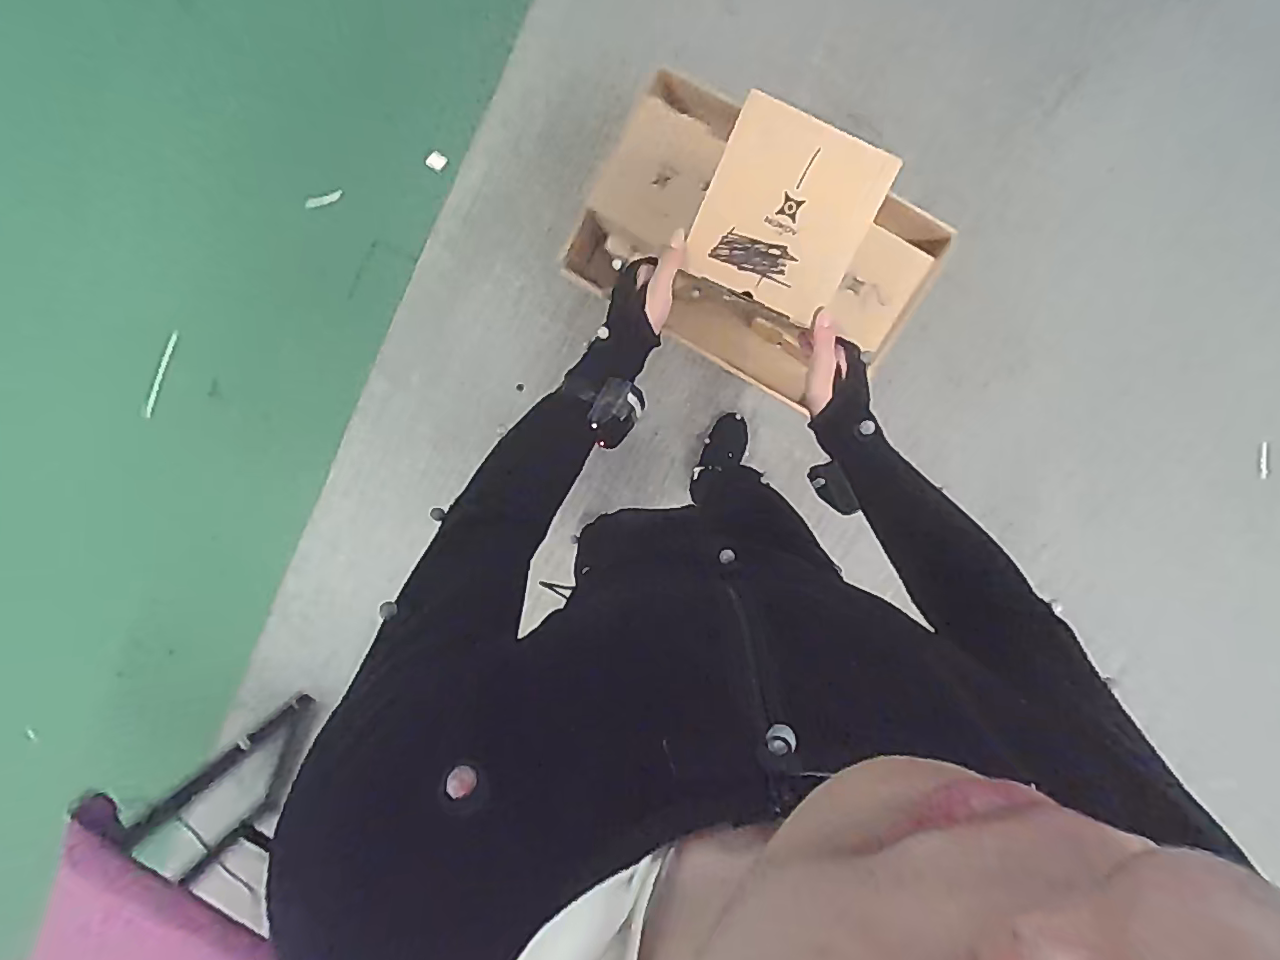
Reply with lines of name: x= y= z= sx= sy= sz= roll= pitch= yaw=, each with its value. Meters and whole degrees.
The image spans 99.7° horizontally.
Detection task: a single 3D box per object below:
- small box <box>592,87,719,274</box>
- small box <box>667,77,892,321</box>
small box: x=0.049 y=-0.463 z=0.869 sx=0.168 sy=0.176 sz=0.179 roll=34 pitch=102 yaw=2
small box: x=0.141 y=-0.295 z=0.611 sx=0.168 sy=0.176 sz=0.179 roll=22 pitch=107 yaw=-3
